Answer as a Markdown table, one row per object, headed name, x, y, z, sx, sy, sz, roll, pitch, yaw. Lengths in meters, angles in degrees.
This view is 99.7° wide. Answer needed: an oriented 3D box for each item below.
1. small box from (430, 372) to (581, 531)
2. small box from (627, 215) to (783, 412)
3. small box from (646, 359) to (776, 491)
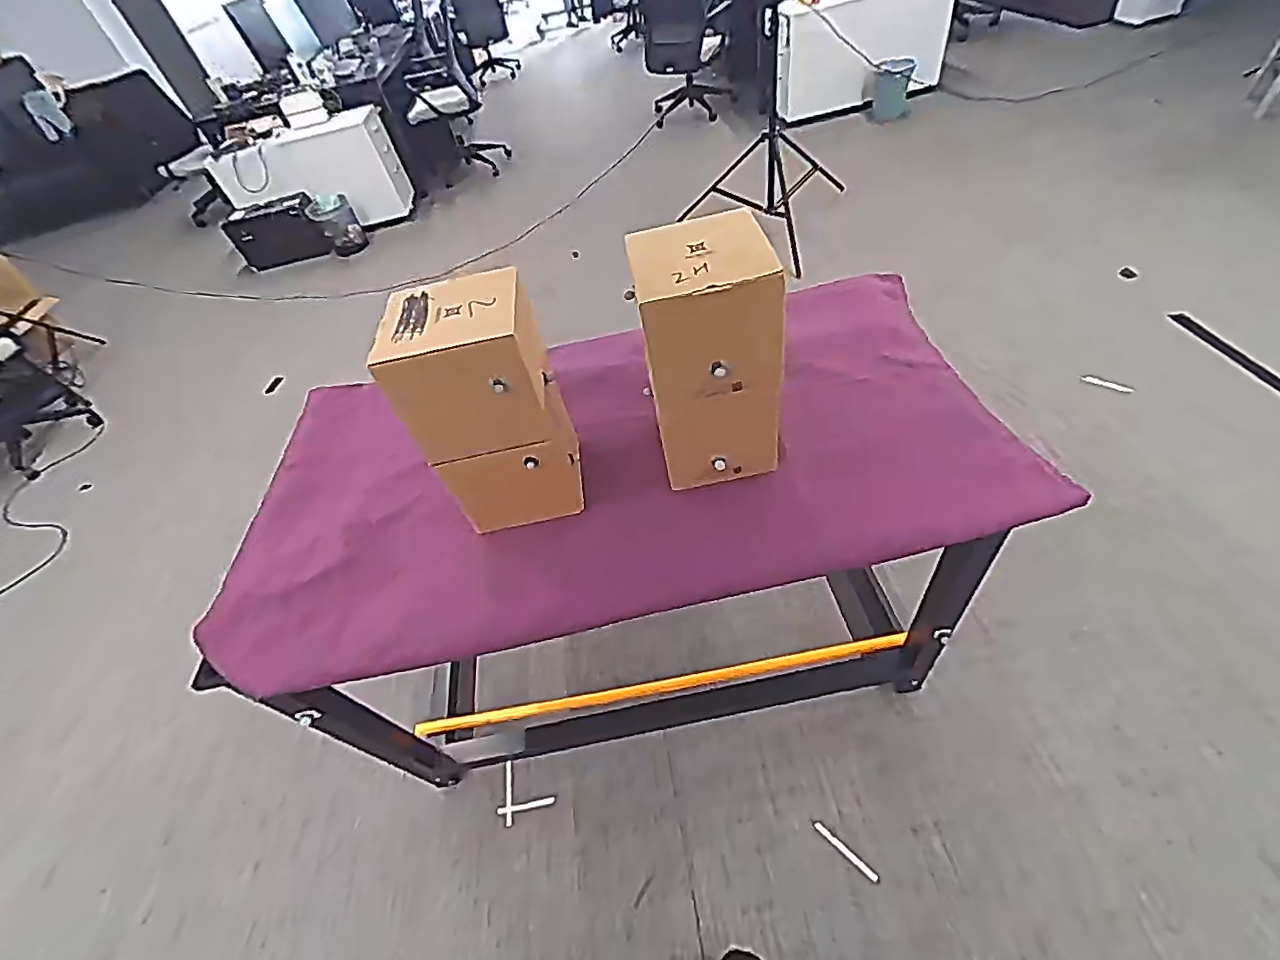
| name | x | y | z | sx | sy | sz | roll | pitch | yaw |
| --- | --- | --- | --- | --- | --- | --- | --- | --- | --- |
| small box | -0.200 | -0.039 | 0.848 | 0.179 | 0.176 | 0.168 | -12 | 48 | 2 |
| small box | 0.083 | -0.217 | 0.715 | 0.168 | 0.176 | 0.179 | -12 | 48 | 4 |
| small box | 0.106 | -0.110 | 0.838 | 0.168 | 0.176 | 0.179 | -11 | 49 | 3 |
